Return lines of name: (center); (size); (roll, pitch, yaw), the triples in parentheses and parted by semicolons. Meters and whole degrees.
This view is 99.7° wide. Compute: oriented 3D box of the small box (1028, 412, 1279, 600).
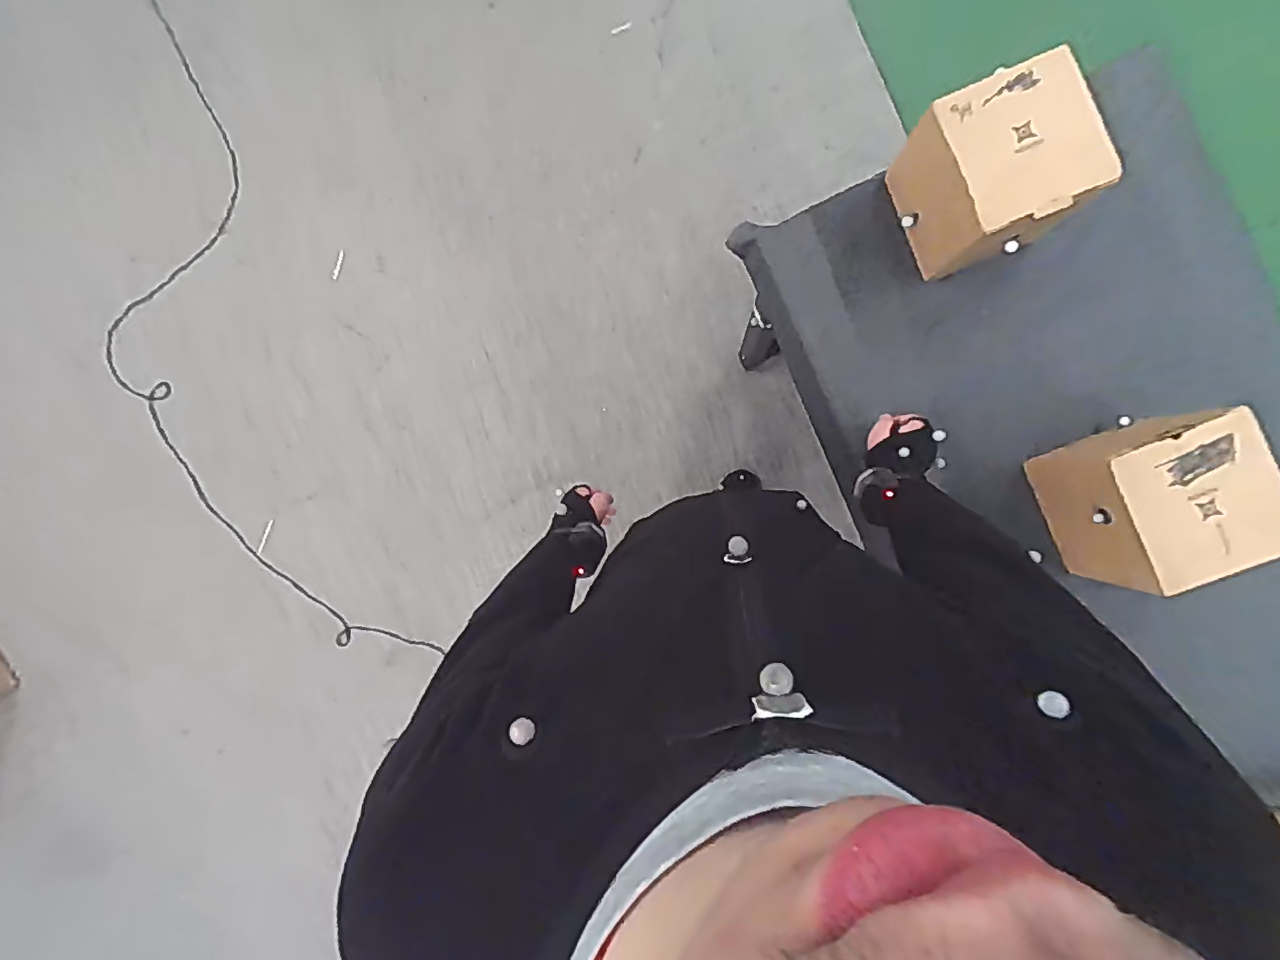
small box: (0.652, 0.030, 0.696); (0.168, 0.176, 0.179); (-22, 89, 6)

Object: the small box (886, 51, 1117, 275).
small box: (0.458, -0.395, 0.715); (0.168, 0.176, 0.179); (-21, 89, 5)
